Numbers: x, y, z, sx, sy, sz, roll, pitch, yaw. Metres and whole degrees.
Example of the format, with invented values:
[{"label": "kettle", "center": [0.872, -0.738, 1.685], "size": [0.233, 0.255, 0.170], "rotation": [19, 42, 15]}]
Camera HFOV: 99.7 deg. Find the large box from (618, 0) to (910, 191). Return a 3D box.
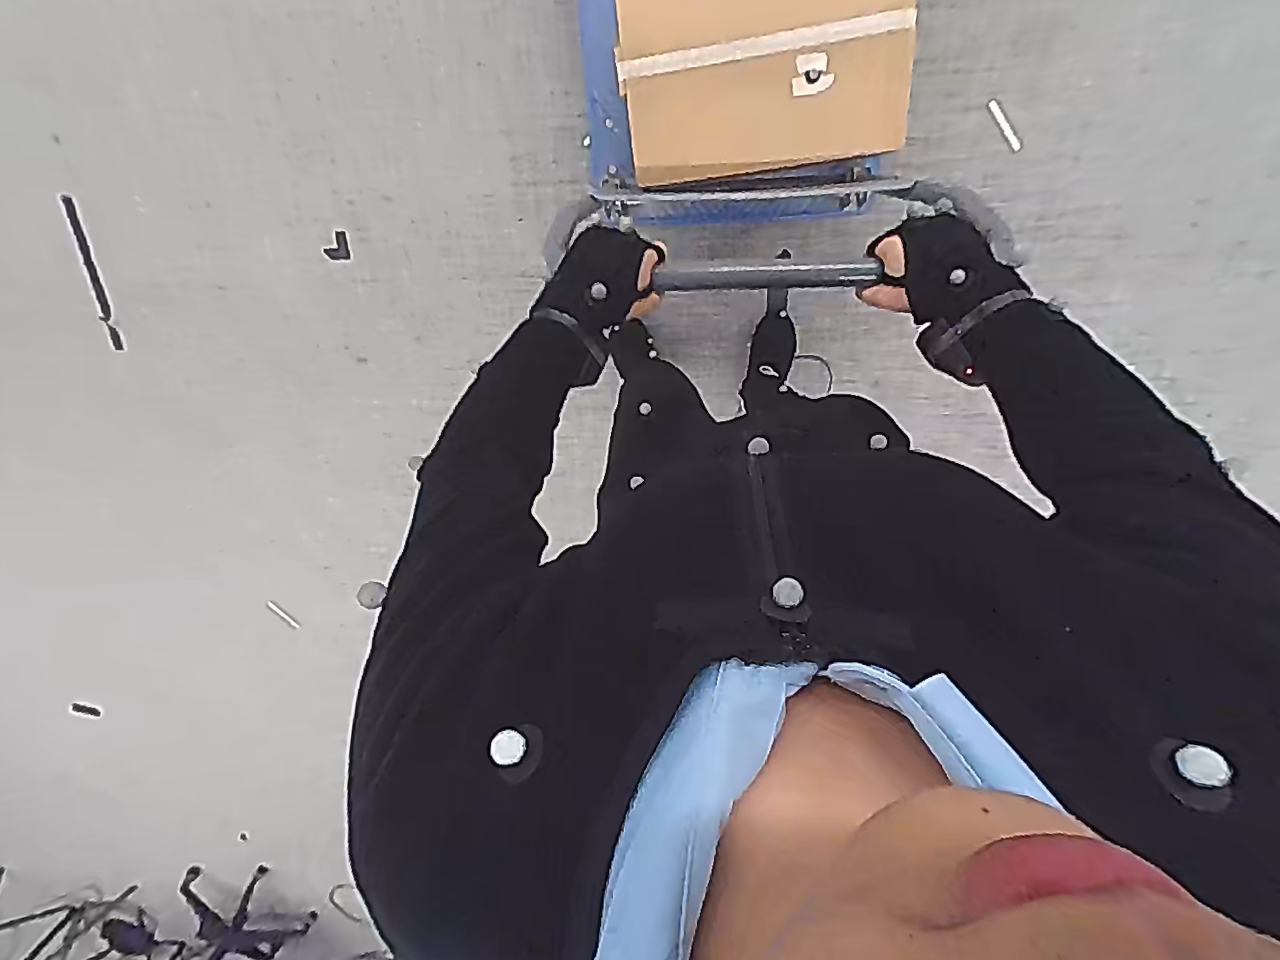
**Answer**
[{"label": "large box", "center": [0.188, -0.692, 0.908], "size": [0.408, 0.320, 0.320], "rotation": [-5, 117, 7]}]
